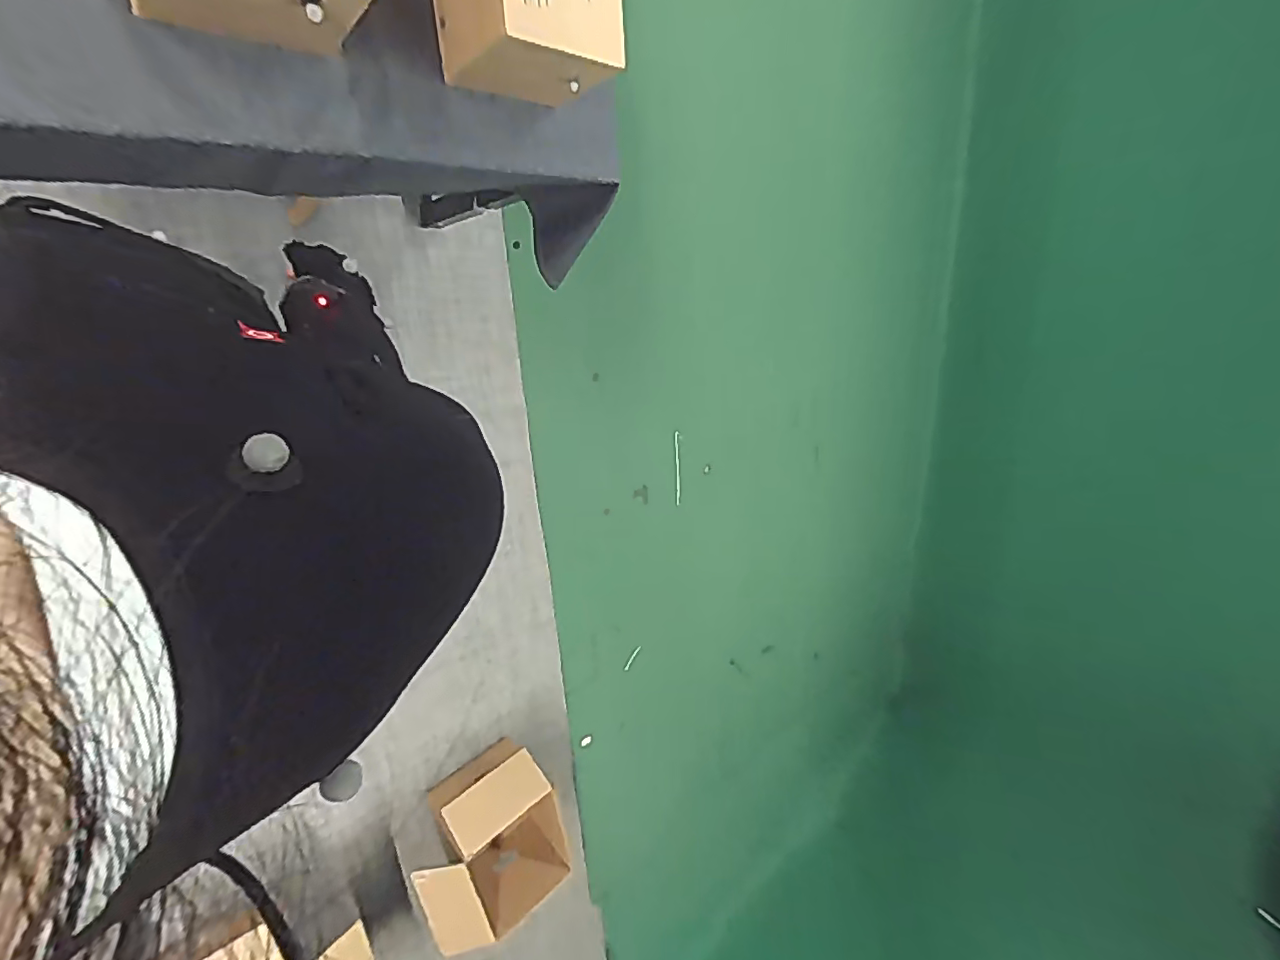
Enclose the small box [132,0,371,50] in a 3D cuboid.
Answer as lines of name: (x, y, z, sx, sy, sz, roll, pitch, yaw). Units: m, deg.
small box: (-0.370, -0.526, 0.487, 0.179, 0.176, 0.168, -18, 113, -38)
